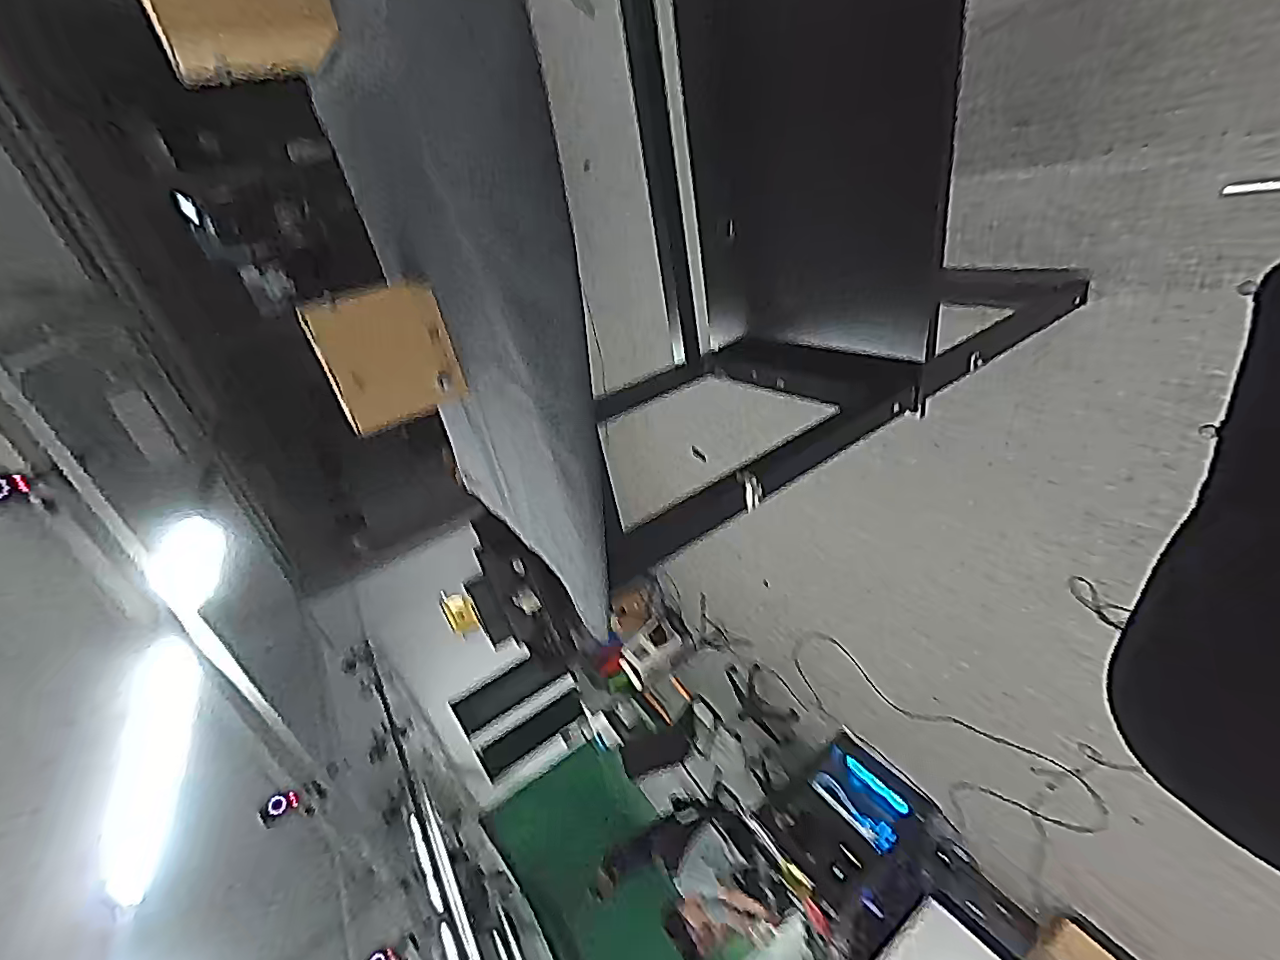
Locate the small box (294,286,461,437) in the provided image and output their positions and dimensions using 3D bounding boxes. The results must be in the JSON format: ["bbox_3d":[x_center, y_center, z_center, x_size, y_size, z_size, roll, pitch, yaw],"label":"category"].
[{"bbox_3d":[-0.394,-0.190,0.827,0.179,0.176,0.168,31,140,50],"label":"small box"}]

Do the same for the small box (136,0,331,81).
[{"bbox_3d":[-0.469,-0.562,0.597,0.179,0.176,0.168,32,142,48],"label":"small box"}]
